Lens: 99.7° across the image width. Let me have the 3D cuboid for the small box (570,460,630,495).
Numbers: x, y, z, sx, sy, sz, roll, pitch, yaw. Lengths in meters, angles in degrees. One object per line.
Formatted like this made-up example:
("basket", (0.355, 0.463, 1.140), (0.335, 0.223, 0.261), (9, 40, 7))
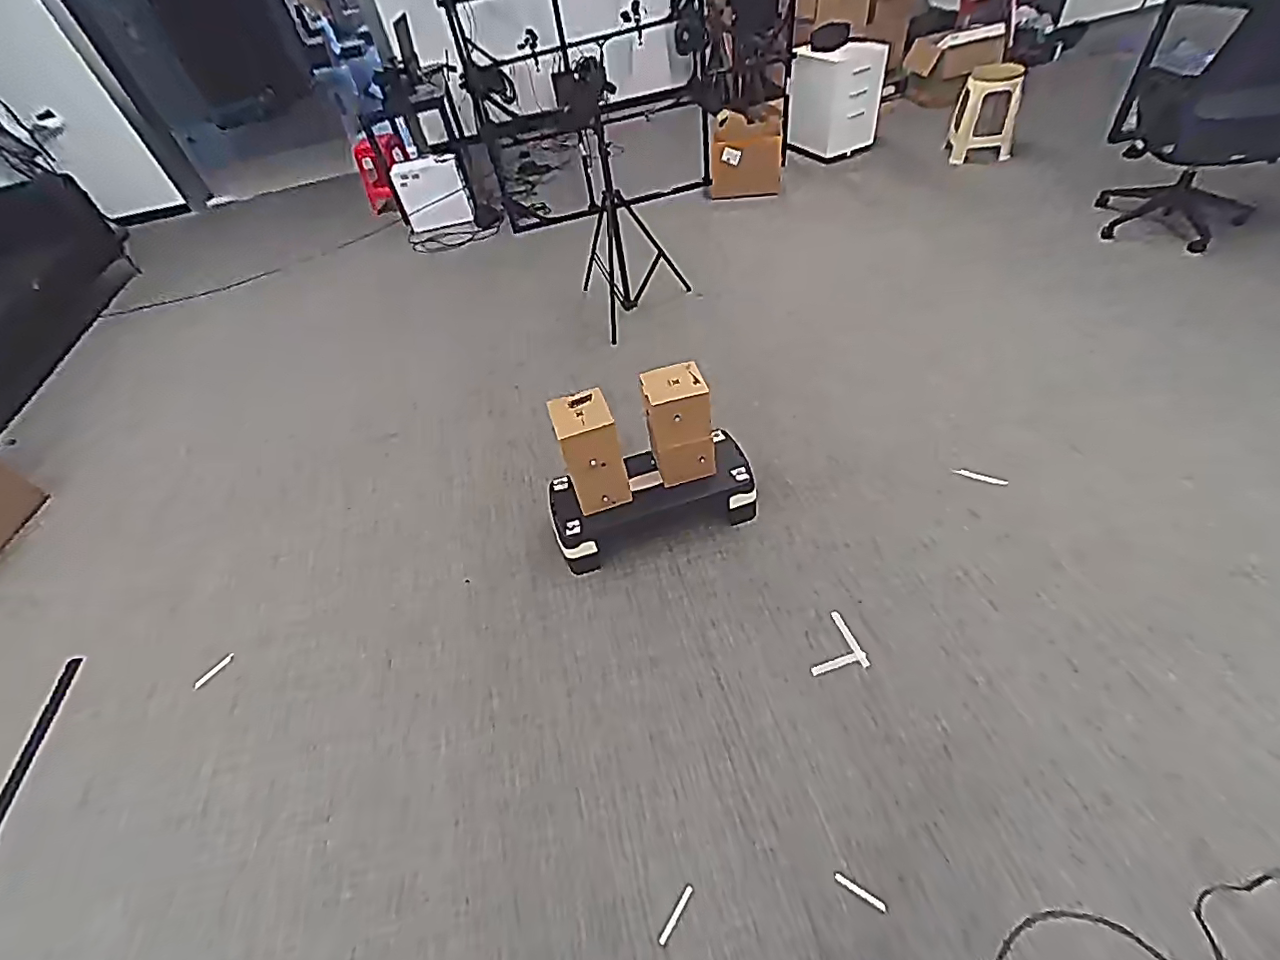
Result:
("small box", (-0.137, -0.024, 1.717), (0.168, 0.176, 0.179), (-17, 47, -5))

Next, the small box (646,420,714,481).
("small box", (0.131, -0.105, 1.742), (0.179, 0.176, 0.168), (-17, 46, -5))

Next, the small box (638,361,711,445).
("small box", (0.106, -0.228, 1.637), (0.179, 0.176, 0.168), (-15, 47, -2))

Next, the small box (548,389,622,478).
("small box", (-0.162, -0.137, 1.600), (0.168, 0.176, 0.179), (-18, 48, -6))

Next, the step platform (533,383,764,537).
("step platform", (0.028, -0.062, 1.674), (0.684, 0.204, 0.286), (-17, 47, -6))
